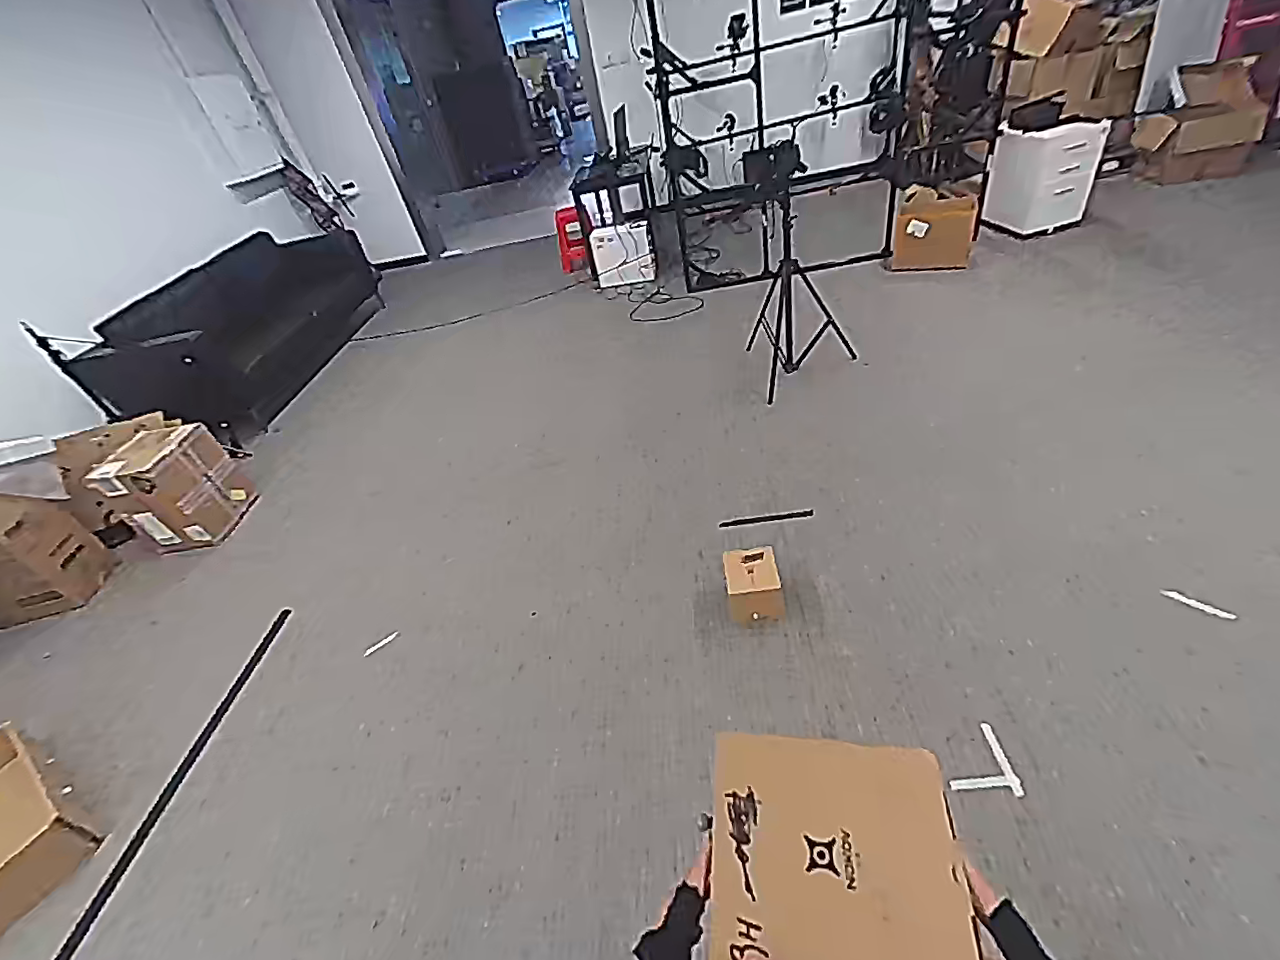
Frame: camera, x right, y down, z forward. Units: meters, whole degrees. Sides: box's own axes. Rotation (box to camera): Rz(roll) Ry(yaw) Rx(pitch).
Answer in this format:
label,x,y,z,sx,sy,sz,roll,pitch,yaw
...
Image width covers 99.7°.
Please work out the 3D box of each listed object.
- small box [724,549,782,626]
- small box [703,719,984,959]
label,x,y,z,sx,sy,sz,roll,pitch,yaw
small box,0.371,0.355,1.781,0.168,0.176,0.179,-8,40,8
small box,0.145,0.320,0.442,0.179,0.176,0.168,2,44,10
